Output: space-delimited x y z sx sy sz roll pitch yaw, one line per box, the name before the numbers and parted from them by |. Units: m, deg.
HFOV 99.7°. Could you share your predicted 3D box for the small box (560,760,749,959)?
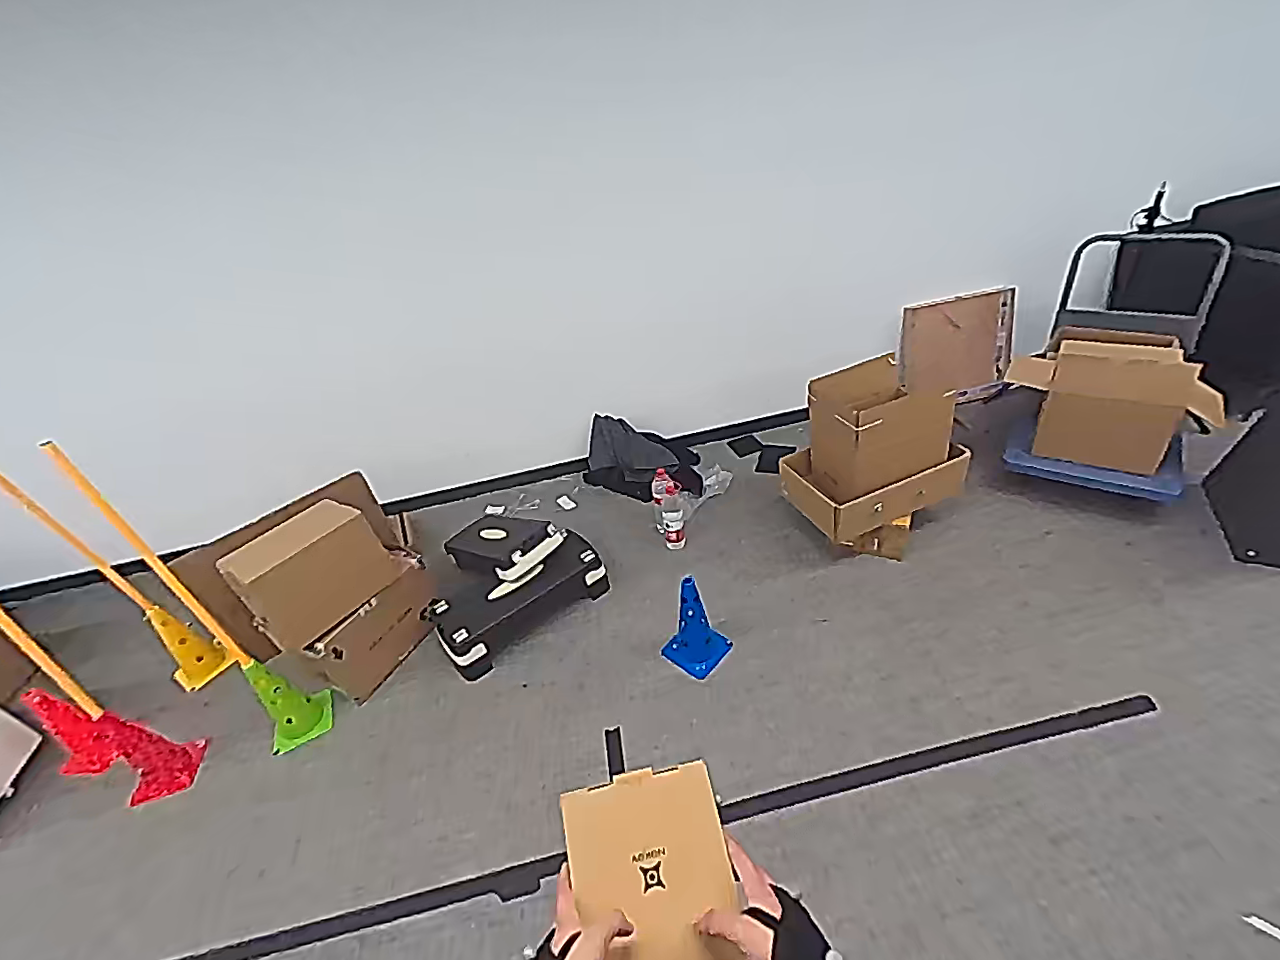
small box | 0.007 0.439 0.610 0.168 0.176 0.179 -9 55 -9
